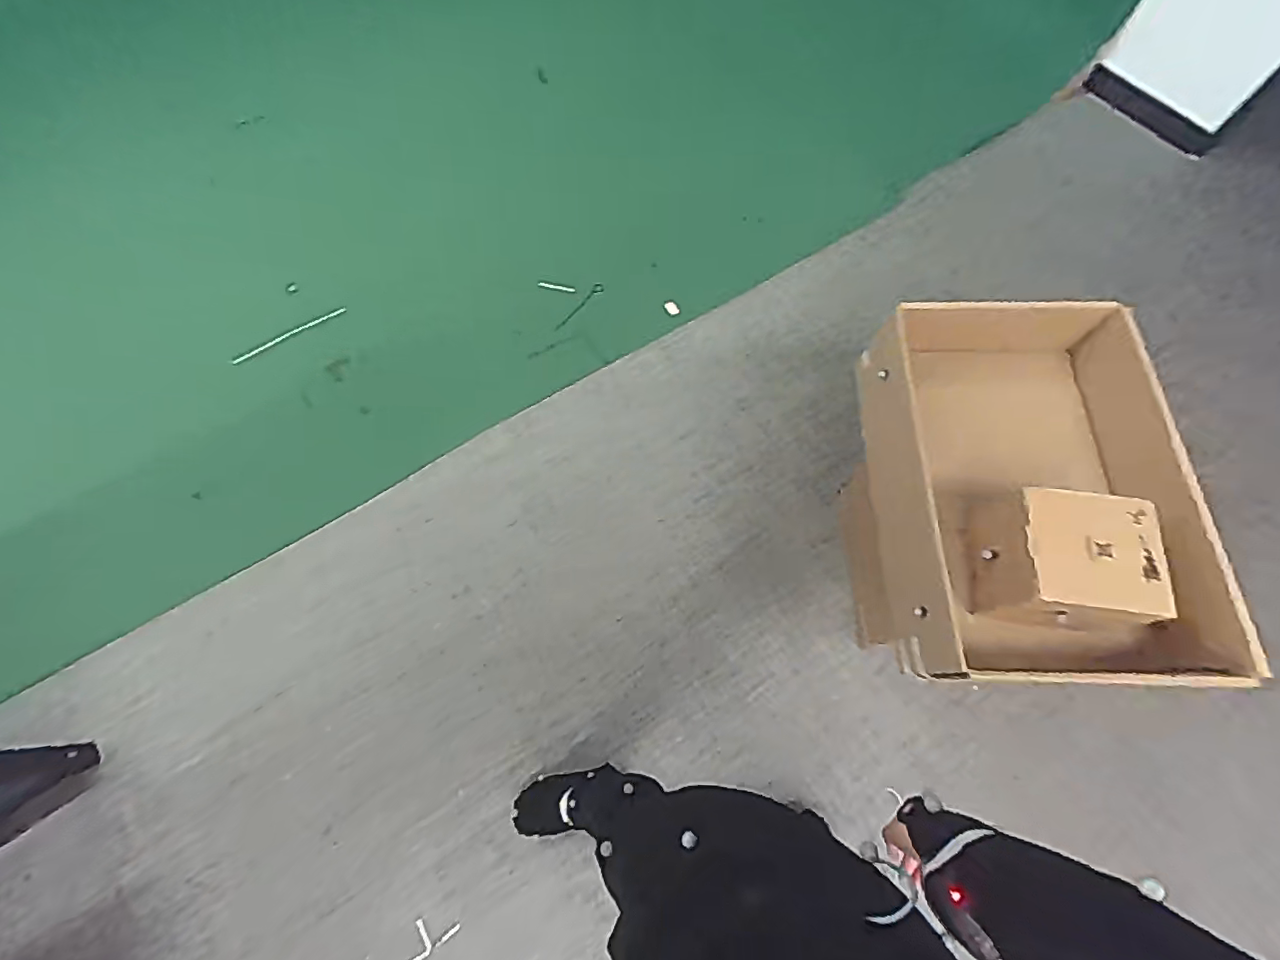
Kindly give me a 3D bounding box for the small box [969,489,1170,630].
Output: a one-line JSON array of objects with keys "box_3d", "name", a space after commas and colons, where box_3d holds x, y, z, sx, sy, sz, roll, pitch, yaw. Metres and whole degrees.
[{"box_3d": [0.623, 0.126, 0.816, 0.179, 0.176, 0.168, 7, 69, 5], "name": "small box"}]
